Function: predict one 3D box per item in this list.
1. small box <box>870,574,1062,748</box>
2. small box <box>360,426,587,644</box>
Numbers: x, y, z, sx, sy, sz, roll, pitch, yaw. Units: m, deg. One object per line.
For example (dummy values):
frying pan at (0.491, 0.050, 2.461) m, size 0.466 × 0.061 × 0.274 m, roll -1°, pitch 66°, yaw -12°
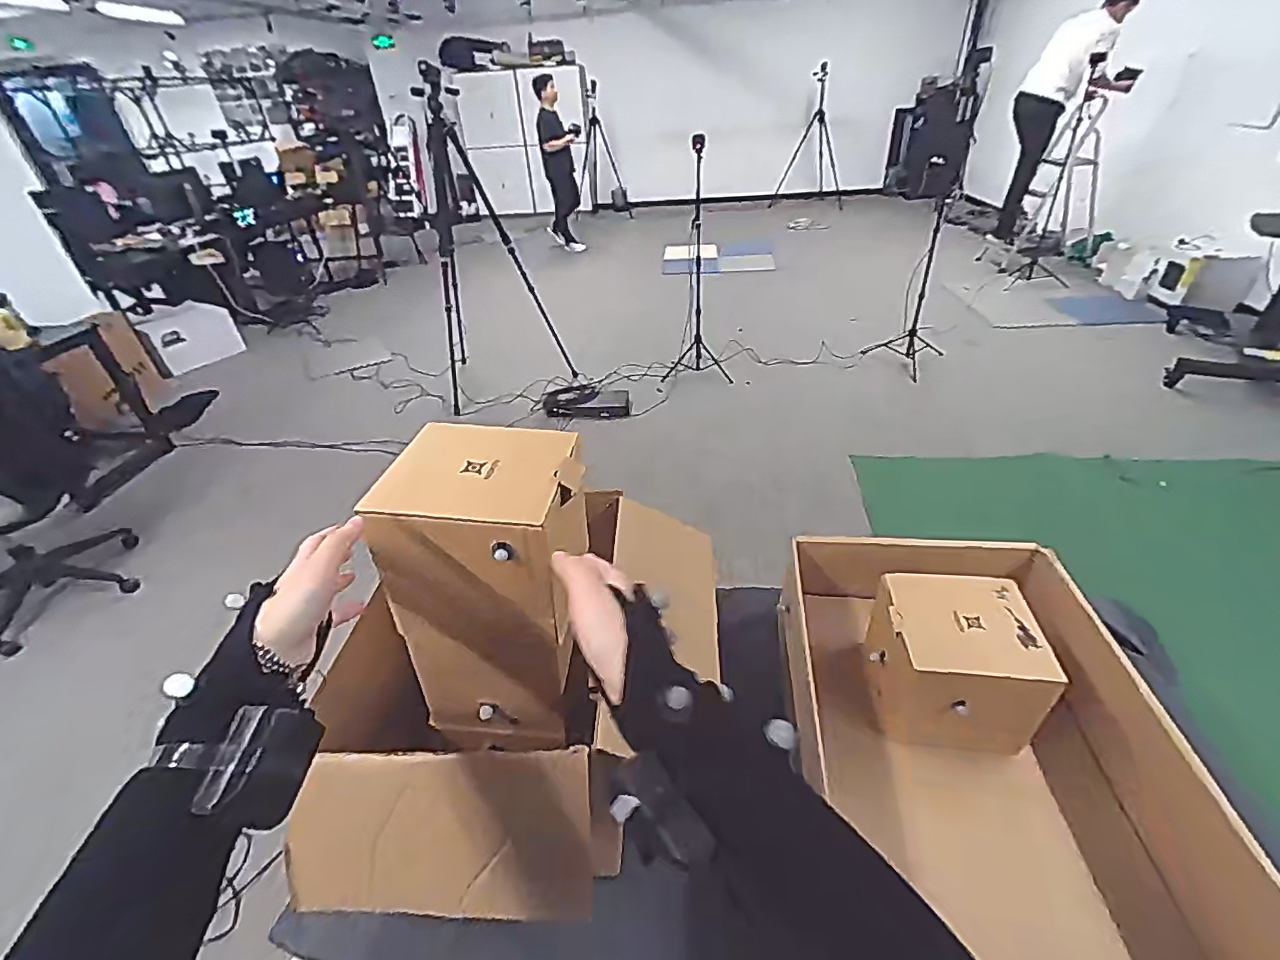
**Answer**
small box at (0.431, 0.252, 0.756) m, size 0.179 × 0.176 × 0.168 m, roll 0°, pitch 37°, yaw 9°
small box at (-0.158, 0.057, 0.583) m, size 0.179 × 0.176 × 0.168 m, roll 4°, pitch 34°, yaw 4°
